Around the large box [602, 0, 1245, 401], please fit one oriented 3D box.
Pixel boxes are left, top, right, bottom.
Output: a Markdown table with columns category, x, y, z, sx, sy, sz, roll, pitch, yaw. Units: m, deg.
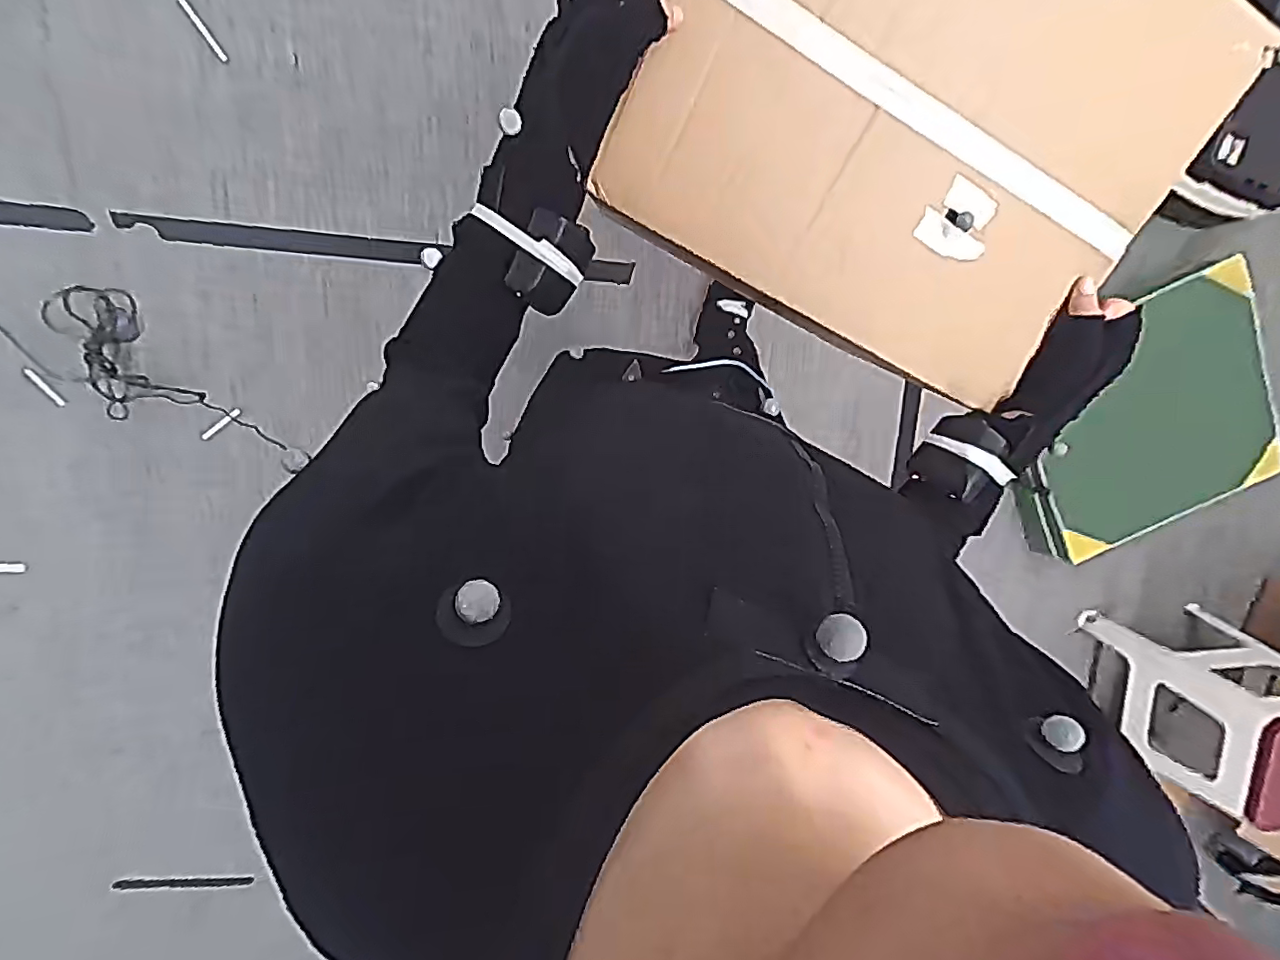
| category | x | y | z | sx | sy | sz | roll | pitch | yaw |
| --- | --- | --- | --- | --- | --- | --- | --- | --- | --- |
| large box | 0.201 | -0.332 | 0.547 | 0.408 | 0.320 | 0.320 | 24 | 111 | -13 |
